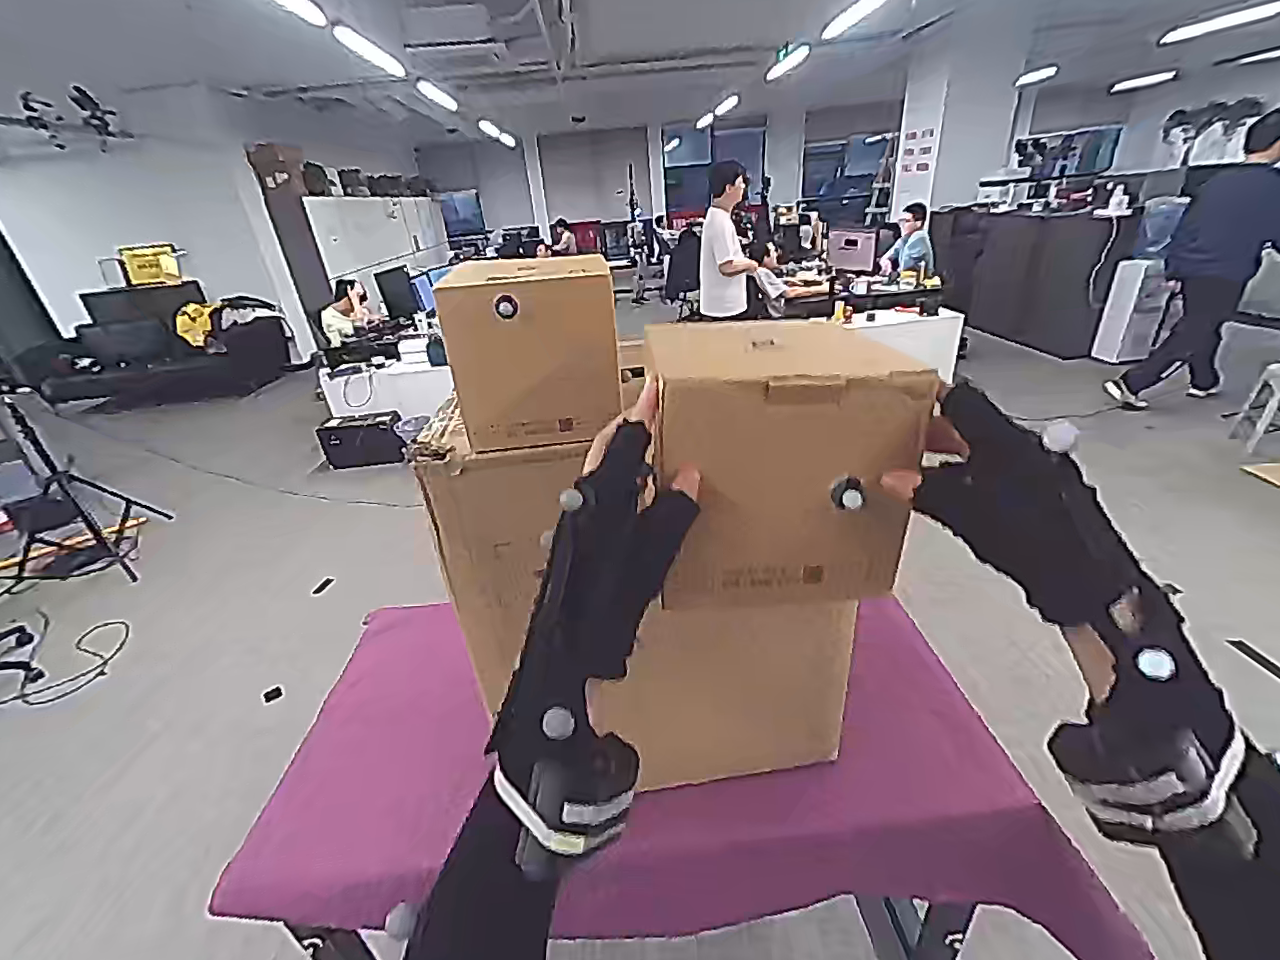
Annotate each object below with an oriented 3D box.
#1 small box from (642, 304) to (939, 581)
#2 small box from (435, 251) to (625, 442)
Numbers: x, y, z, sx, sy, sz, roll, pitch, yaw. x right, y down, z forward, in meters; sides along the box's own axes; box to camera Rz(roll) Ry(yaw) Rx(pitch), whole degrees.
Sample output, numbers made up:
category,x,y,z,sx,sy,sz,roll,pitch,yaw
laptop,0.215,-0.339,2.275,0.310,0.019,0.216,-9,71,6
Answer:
category,x,y,z,sx,sy,sz,roll,pitch,yaw
small box,0.090,-0.034,0.417,0.168,0.176,0.179,-2,25,-3
small box,-0.109,-0.154,0.602,0.168,0.176,0.179,-7,28,-4
